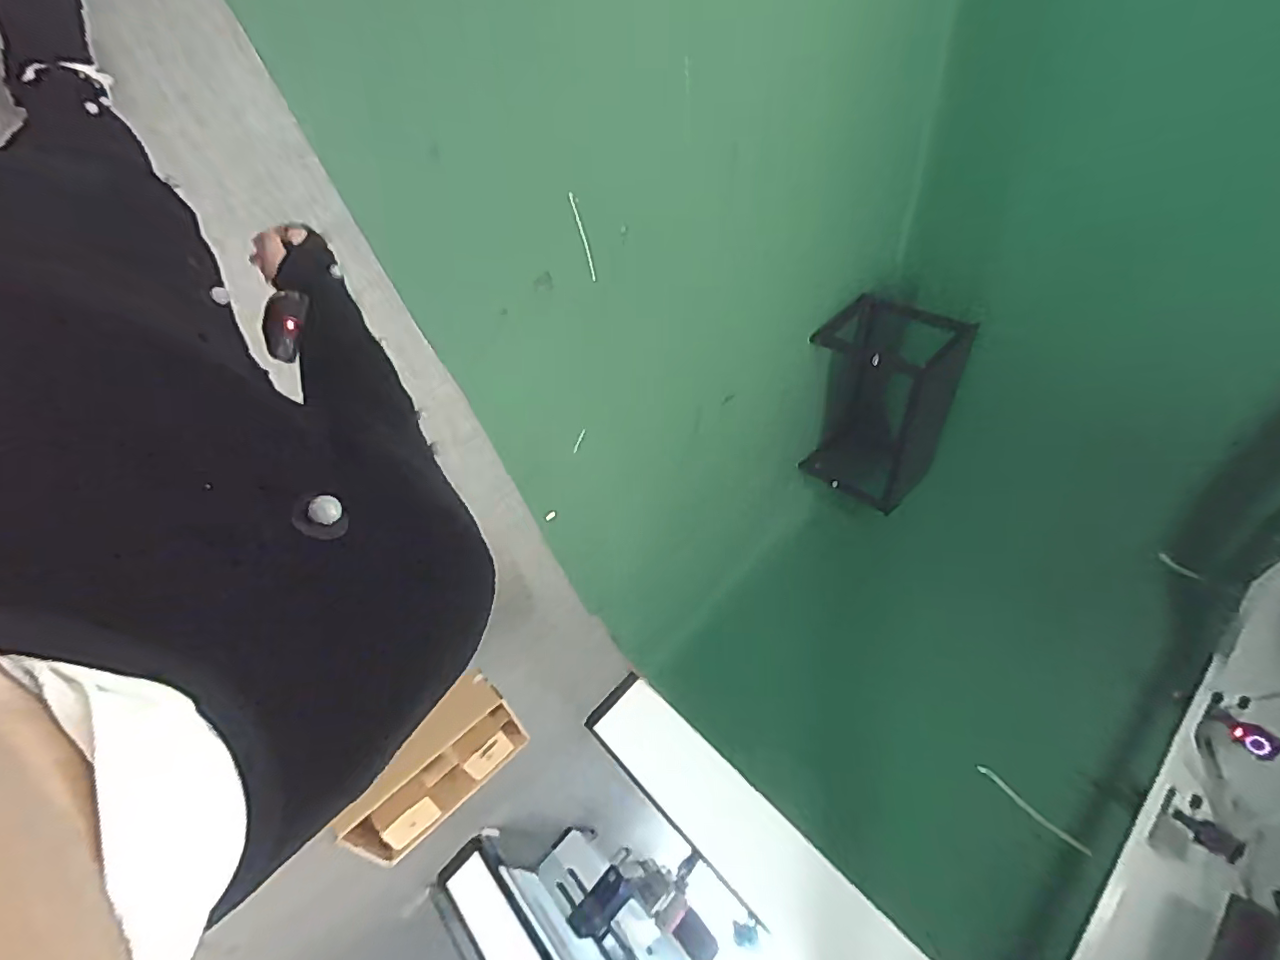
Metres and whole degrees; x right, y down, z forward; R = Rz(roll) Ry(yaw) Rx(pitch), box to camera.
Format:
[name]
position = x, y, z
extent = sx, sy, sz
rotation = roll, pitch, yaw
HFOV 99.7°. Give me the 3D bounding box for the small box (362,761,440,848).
[small box]
position = -0.823, 1.115, 1.865
extent = 0.168, 0.176, 0.179
rotation = -35, 140, -29
